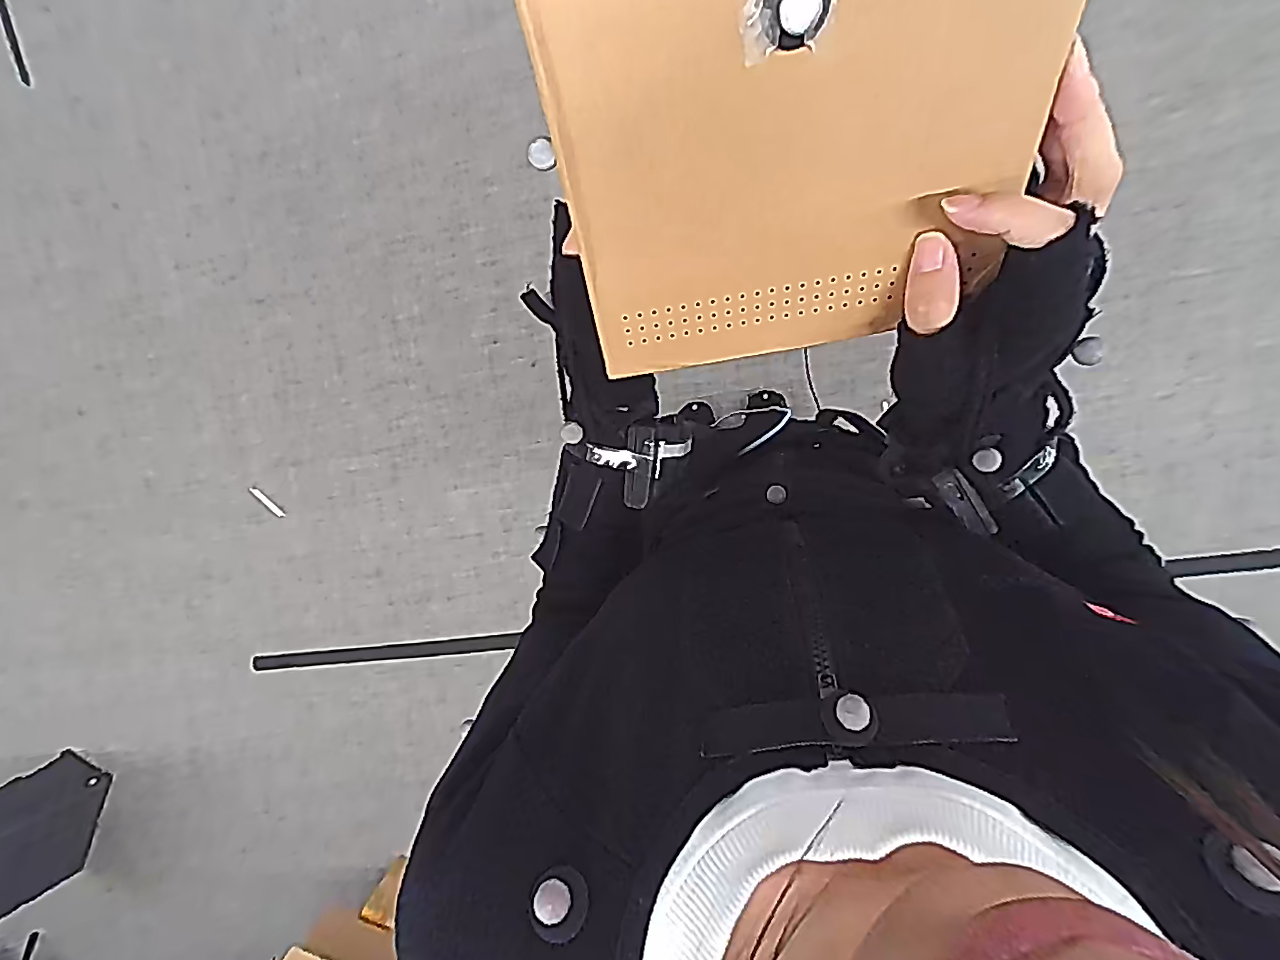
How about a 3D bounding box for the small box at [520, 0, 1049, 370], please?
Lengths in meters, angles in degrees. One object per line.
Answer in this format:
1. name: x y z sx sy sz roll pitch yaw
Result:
1. small box: 0.056 -0.170 0.256 0.179 0.168 0.176 -8 136 5
